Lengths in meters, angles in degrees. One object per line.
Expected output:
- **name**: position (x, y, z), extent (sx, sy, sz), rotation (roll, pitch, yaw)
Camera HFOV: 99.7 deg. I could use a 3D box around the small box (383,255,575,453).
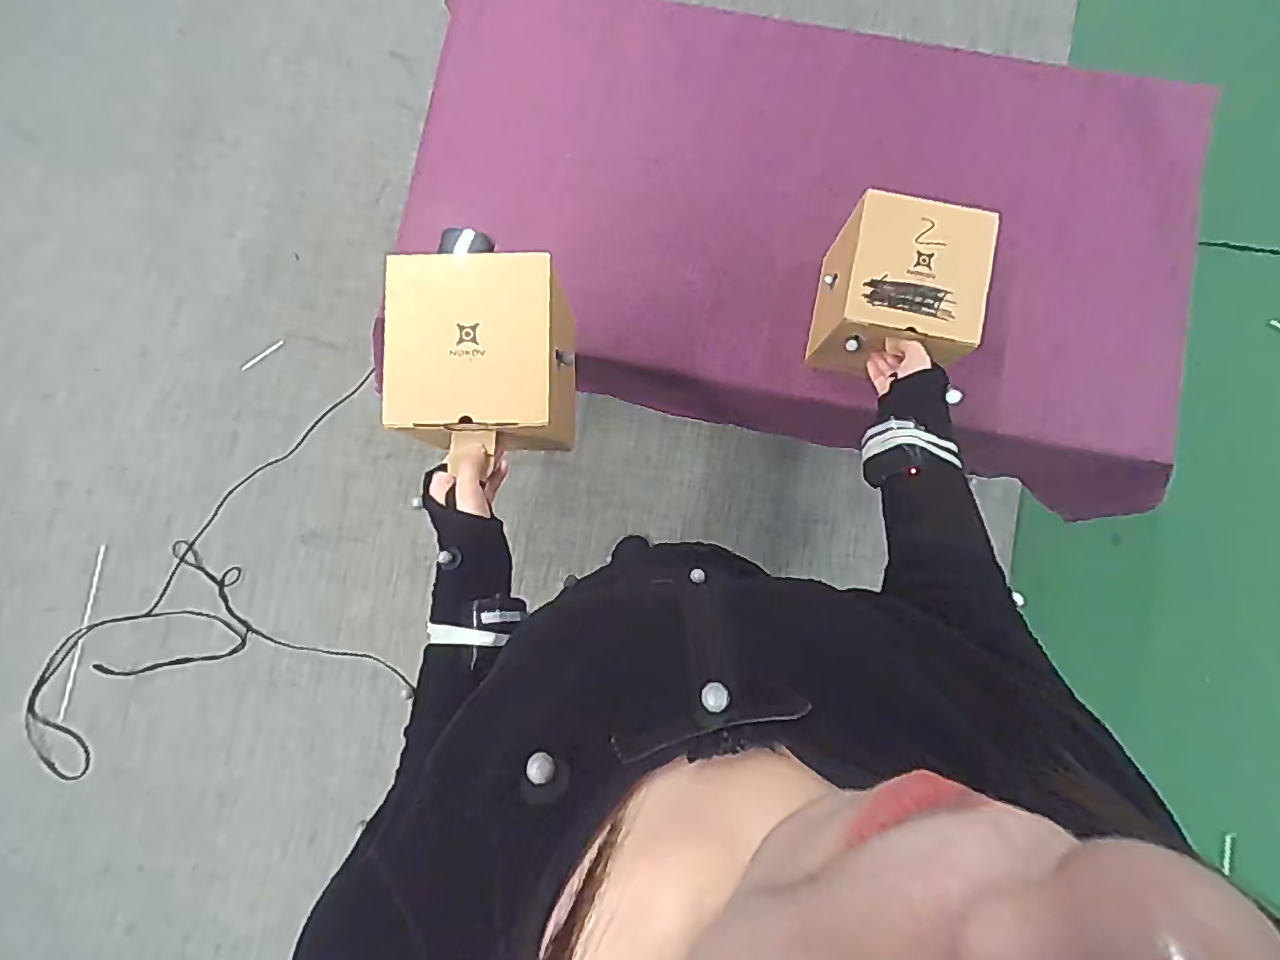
- **small box**: position (-0.166, -0.129, 0.608), extent (0.168, 0.176, 0.179), rotation (0, 86, 0)
